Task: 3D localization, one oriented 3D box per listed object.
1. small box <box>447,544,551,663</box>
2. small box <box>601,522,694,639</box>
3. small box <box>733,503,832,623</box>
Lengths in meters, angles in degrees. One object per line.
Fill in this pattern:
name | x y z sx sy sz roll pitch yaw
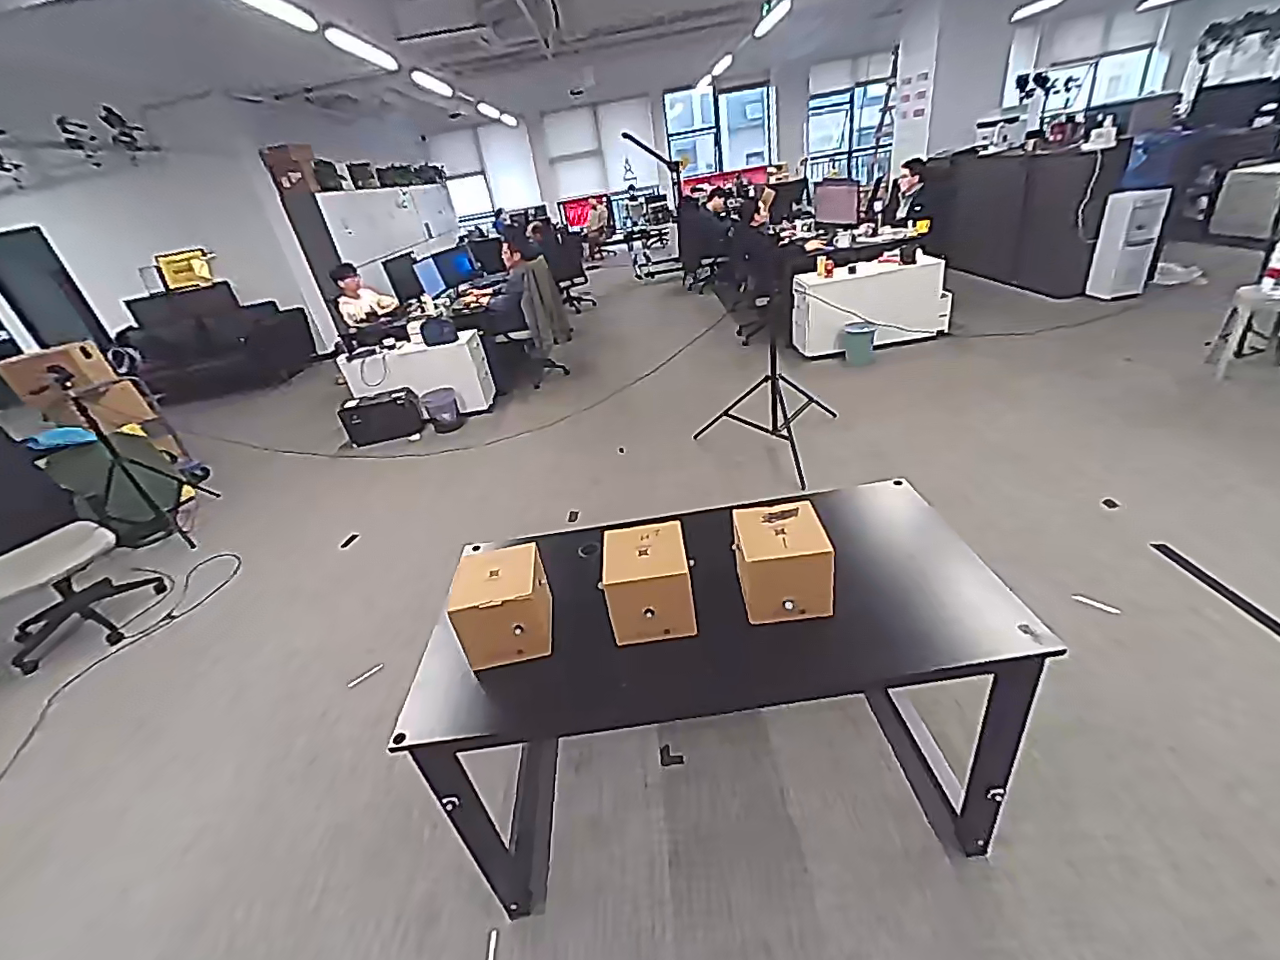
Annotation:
small box | -0.286 0.264 1.139 0.168 0.176 0.179 -10 29 -3
small box | 0.018 0.213 1.129 0.168 0.176 0.179 -8 30 3
small box | 0.289 0.170 1.120 0.168 0.176 0.179 -8 30 5
